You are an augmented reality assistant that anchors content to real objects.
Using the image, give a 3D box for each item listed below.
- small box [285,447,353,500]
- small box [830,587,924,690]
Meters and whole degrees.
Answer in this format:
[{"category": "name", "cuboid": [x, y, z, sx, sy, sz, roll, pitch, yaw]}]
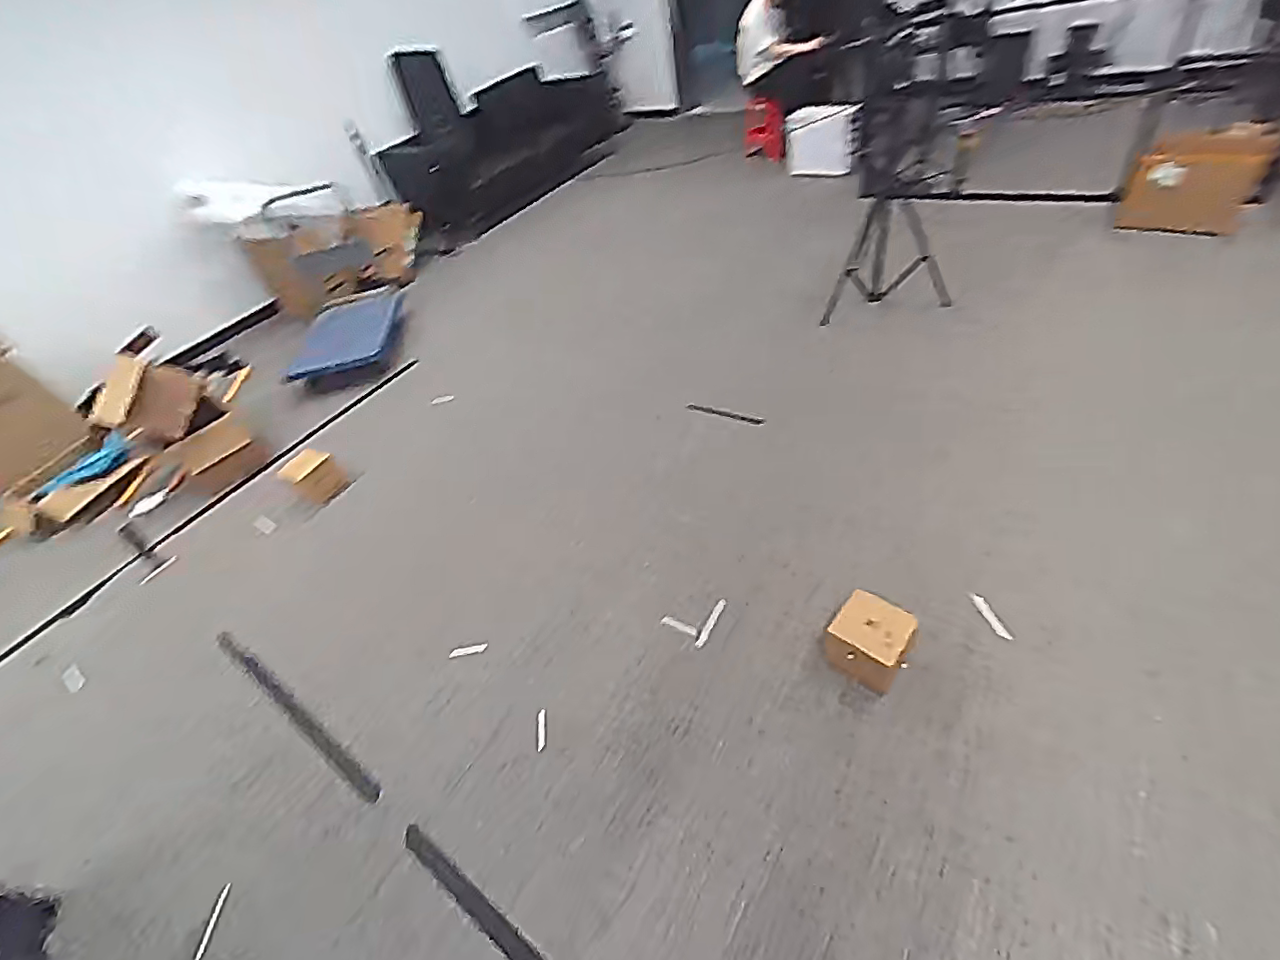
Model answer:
[{"category": "small box", "cuboid": [-1.478, -0.027, 2.502, 0.179, 0.176, 0.168, 13, 51, 27]}, {"category": "small box", "cuboid": [0.632, 0.432, 1.463, 0.179, 0.176, 0.168, 29, 59, 36]}]
